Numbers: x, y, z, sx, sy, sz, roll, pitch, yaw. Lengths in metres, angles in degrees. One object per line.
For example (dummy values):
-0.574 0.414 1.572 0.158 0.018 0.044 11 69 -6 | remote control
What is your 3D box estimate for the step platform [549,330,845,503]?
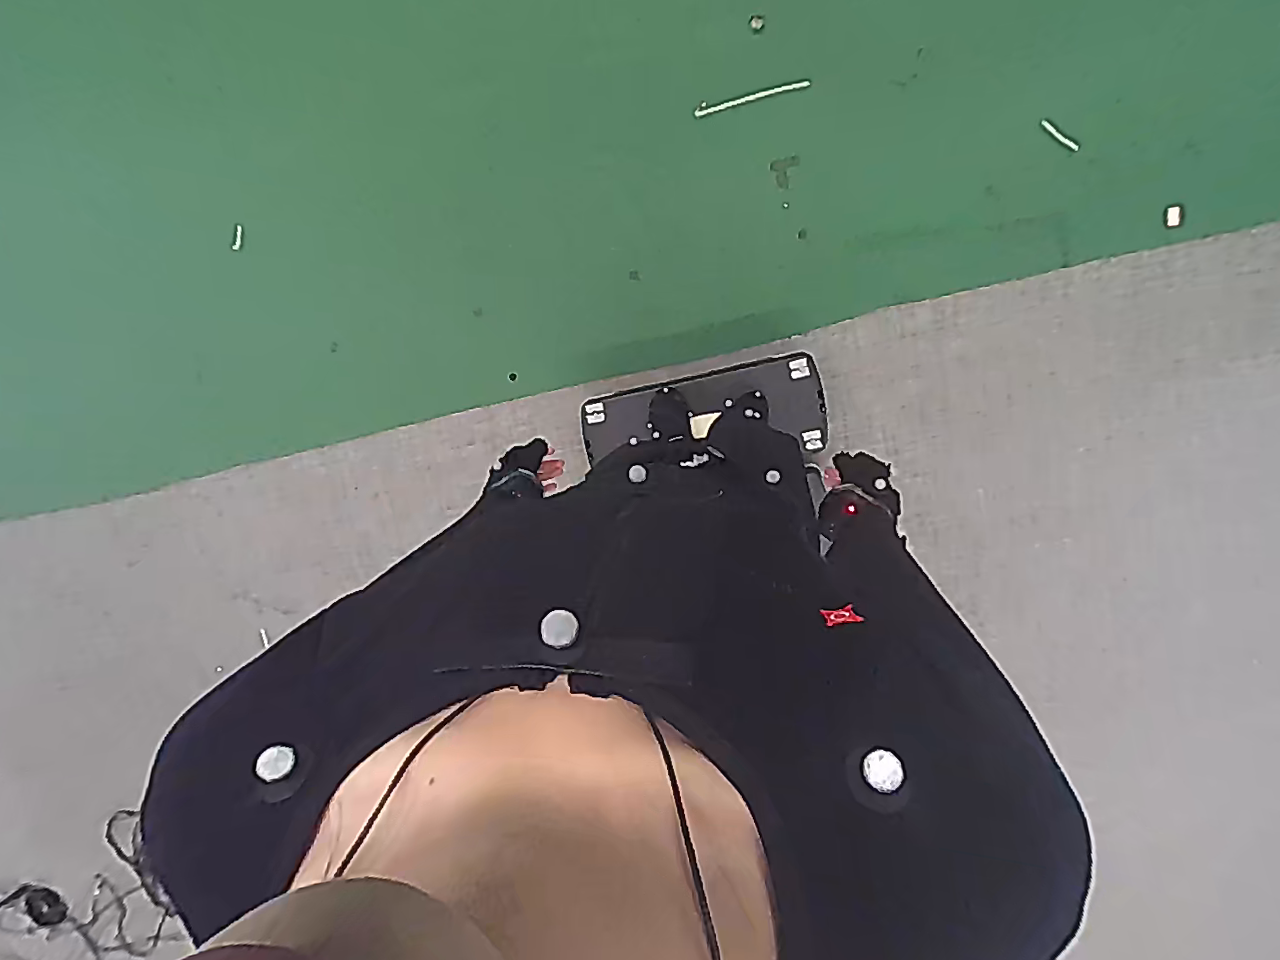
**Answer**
0.135 -0.157 1.350 0.684 0.204 0.286 -12 100 8 | step platform
